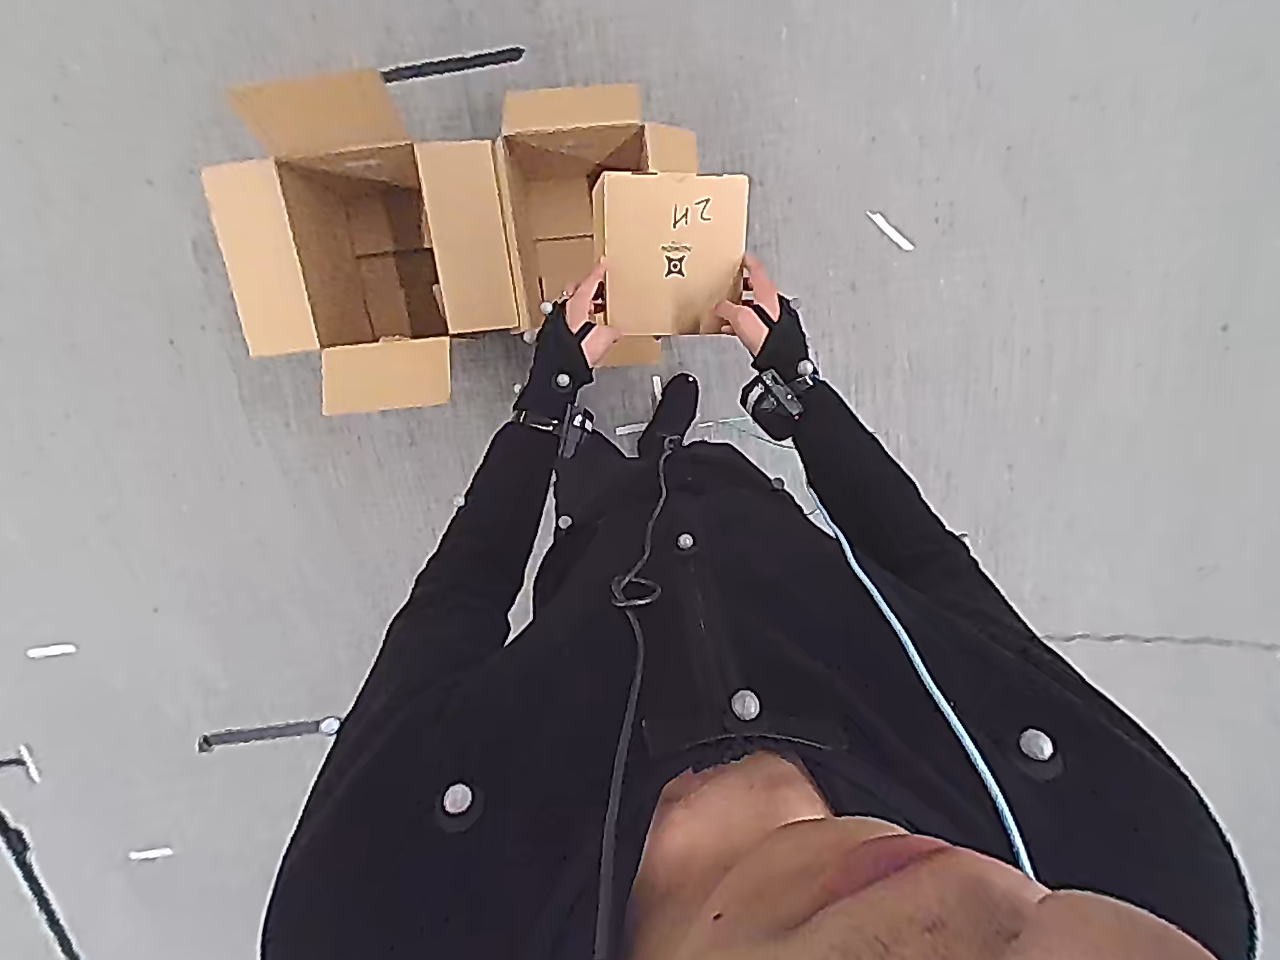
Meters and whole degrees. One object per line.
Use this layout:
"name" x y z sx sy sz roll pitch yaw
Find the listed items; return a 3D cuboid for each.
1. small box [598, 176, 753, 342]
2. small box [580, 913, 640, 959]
"small box" 0.034 -0.279 0.698 0.168 0.176 0.179 -3 111 -8
"small box" -0.097 1.596 1.801 0.179 0.176 0.168 -9 103 1
